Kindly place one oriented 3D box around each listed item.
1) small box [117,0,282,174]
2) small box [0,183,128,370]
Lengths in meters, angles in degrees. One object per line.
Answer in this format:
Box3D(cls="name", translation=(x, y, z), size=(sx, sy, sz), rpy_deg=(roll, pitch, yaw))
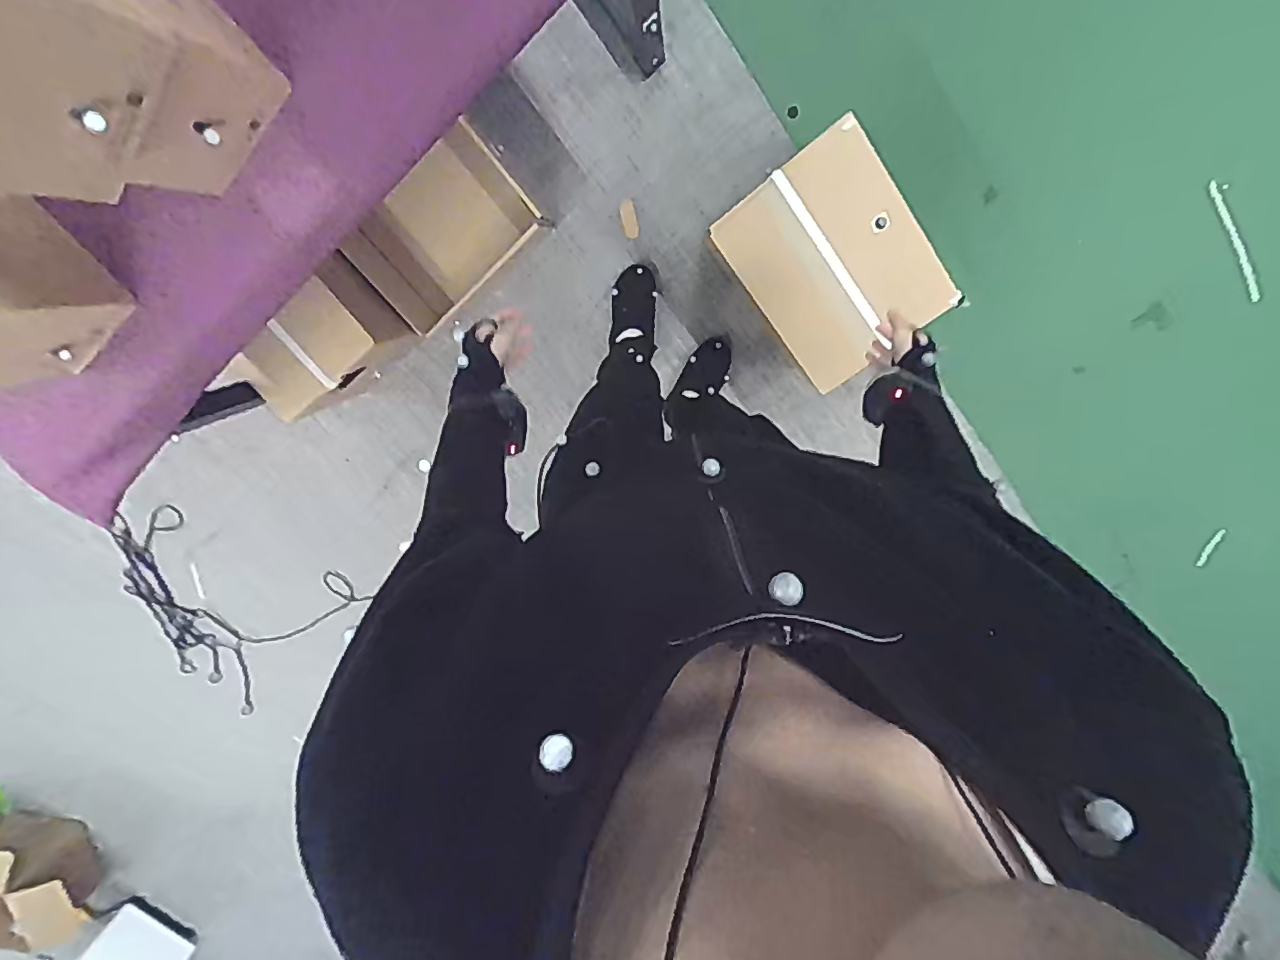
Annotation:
Box3D(cls="small box", translation=(-0.512, -0.435, 0.536), size=(0.168, 0.176, 0.179), rpy_deg=(-39, 104, 17))
Box3D(cls="small box", translation=(-0.791, -0.239, 0.639), size=(0.168, 0.176, 0.179), rpy_deg=(-34, 106, 16))
